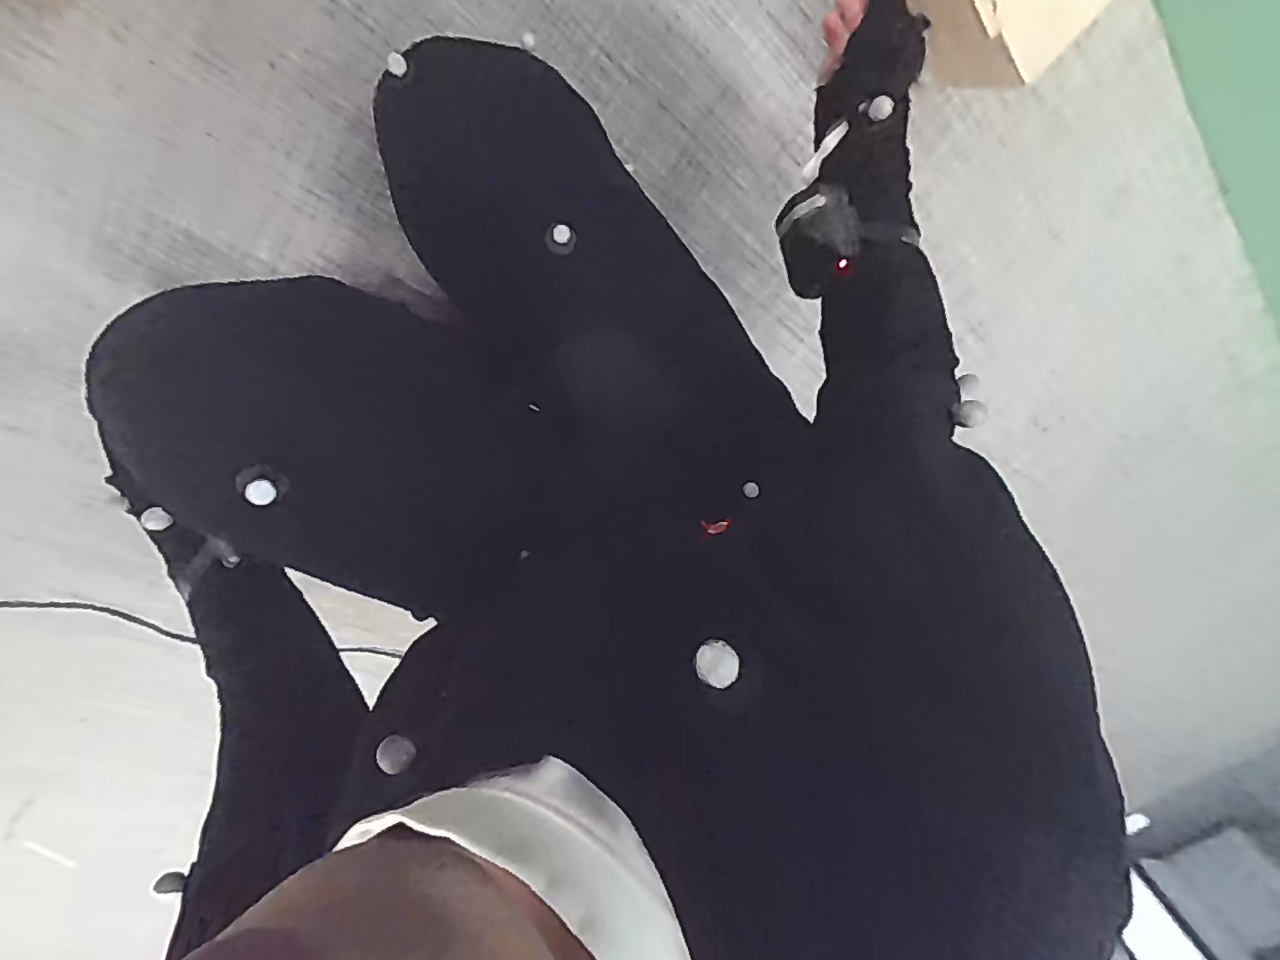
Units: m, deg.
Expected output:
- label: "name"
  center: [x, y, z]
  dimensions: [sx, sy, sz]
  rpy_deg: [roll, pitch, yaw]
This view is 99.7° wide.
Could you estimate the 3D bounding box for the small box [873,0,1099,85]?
- label: "small box"
  center: [0.326, -0.503, 0.490]
  dimensions: [0.168, 0.176, 0.179]
  rpy_deg: [32, 114, -31]
